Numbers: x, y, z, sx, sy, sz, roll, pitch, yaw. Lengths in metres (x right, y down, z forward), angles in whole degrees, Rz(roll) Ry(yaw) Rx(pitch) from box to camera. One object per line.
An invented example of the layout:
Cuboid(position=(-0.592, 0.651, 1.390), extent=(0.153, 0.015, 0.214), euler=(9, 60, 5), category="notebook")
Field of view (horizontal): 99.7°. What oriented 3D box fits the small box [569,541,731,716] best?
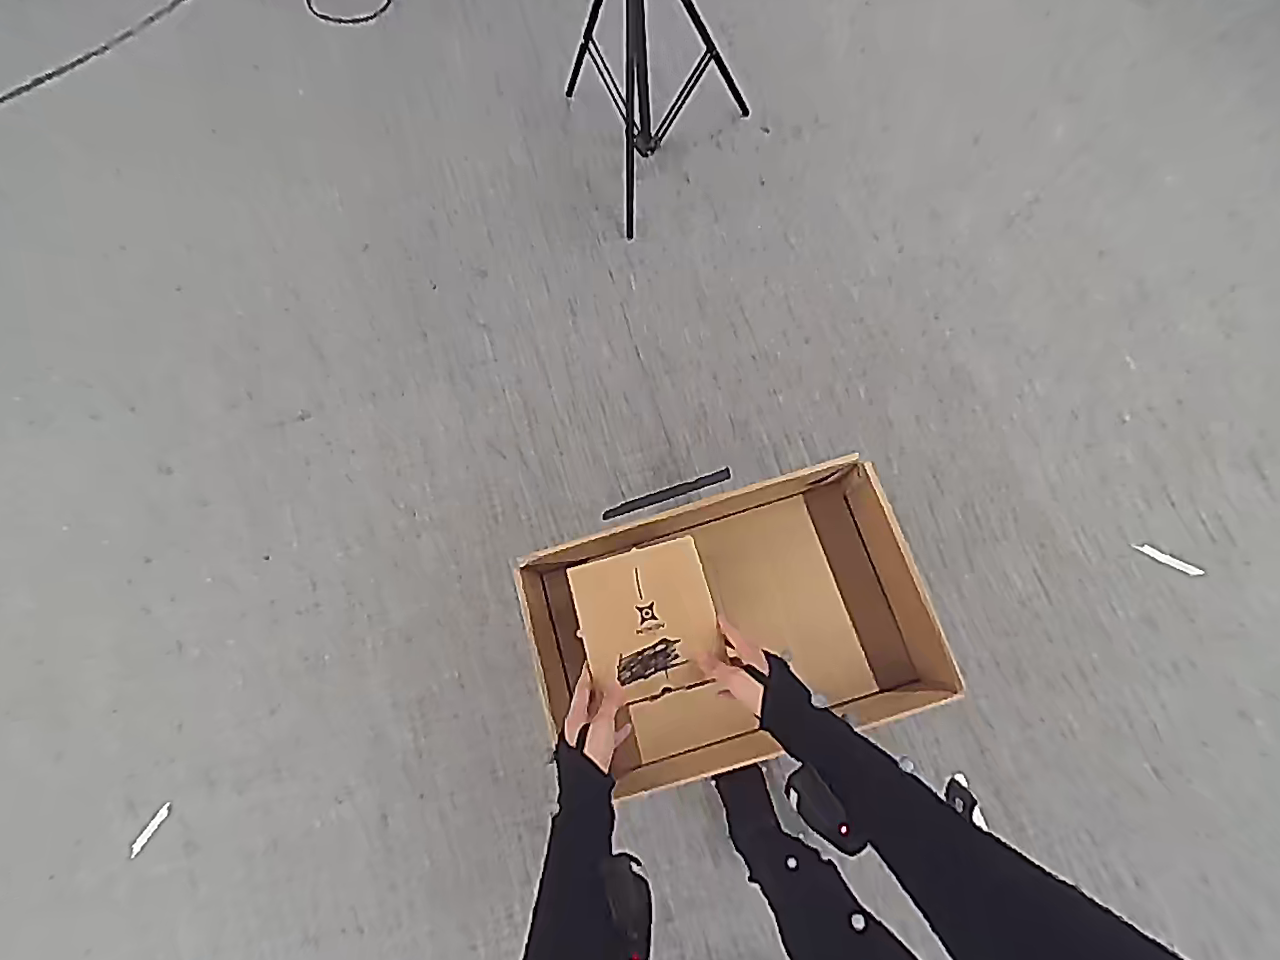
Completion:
Cuboid(position=(0.013, 0.195, 0.733), extent=(0.168, 0.176, 0.179), euler=(-15, 76, -3), category="small box")
